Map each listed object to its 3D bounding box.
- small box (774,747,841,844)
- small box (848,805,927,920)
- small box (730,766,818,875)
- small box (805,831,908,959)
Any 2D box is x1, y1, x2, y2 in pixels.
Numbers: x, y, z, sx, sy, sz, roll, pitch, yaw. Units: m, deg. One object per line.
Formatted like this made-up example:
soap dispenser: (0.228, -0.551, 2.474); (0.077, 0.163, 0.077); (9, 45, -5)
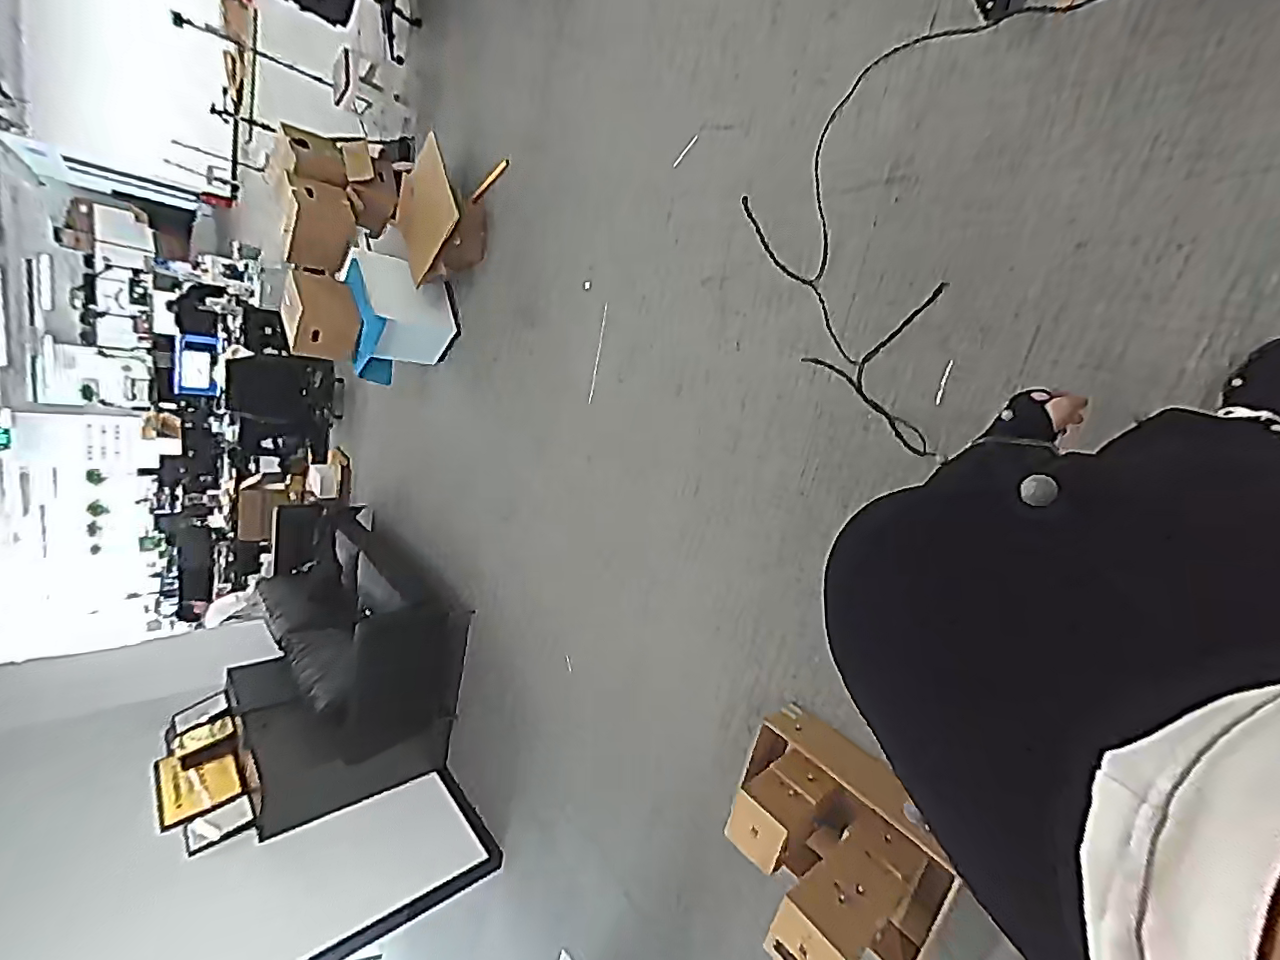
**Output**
small box: (0.511, 0.984, 1.707); (0.168, 0.176, 0.179); (25, 109, 41)
small box: (0.685, 1.071, 1.530); (0.168, 0.176, 0.179); (25, 108, 44)
small box: (0.397, 0.992, 1.591); (0.168, 0.176, 0.179); (27, 110, 40)
small box: (0.569, 1.077, 1.413); (0.168, 0.176, 0.179); (31, 113, 40)
